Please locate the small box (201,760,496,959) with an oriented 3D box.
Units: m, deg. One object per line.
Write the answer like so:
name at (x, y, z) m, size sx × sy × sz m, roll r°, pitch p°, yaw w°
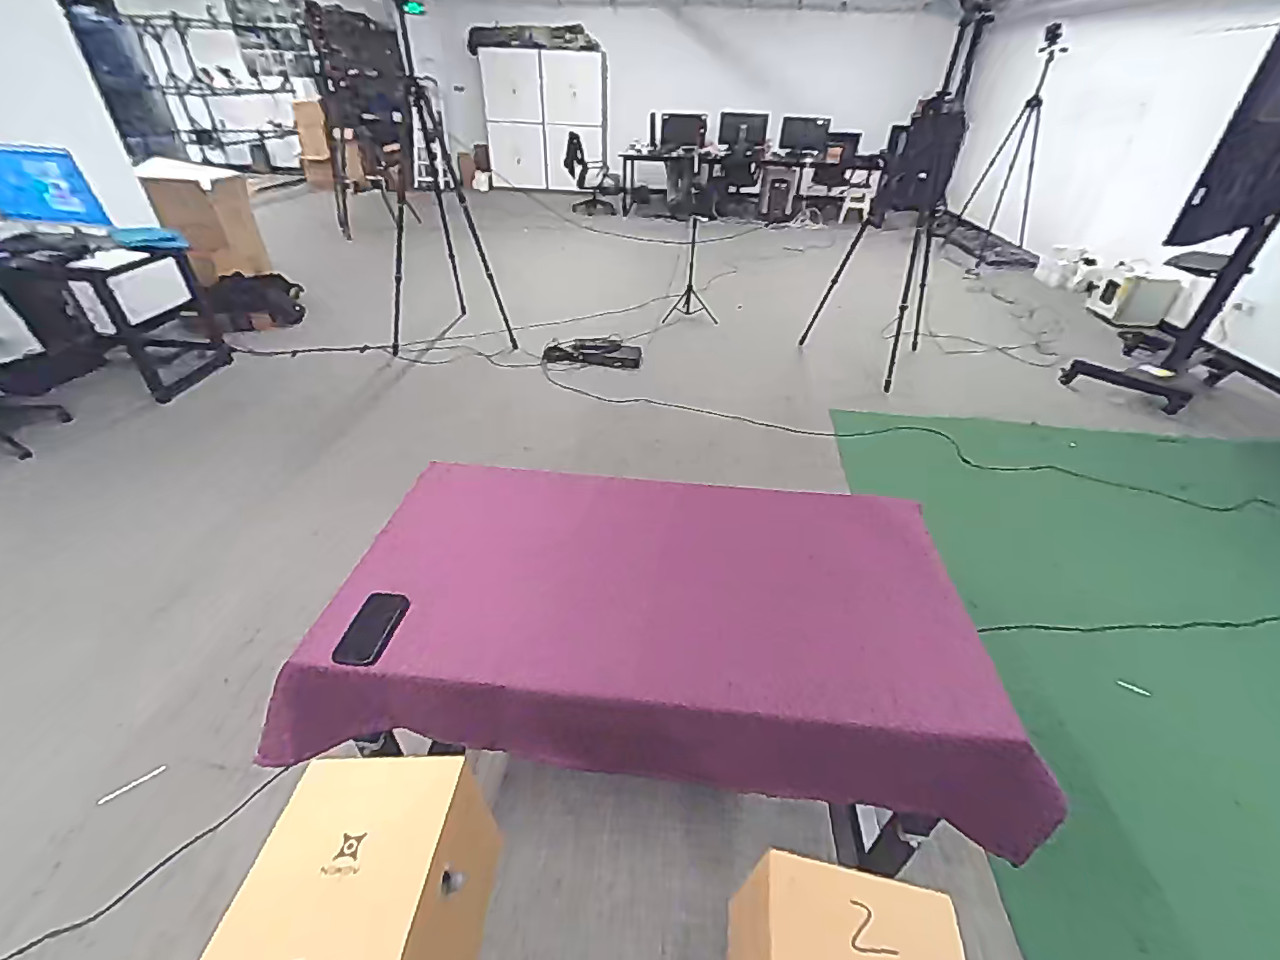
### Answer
small box at (-0.249, 0.399, 0.518) m, size 0.168 × 0.176 × 0.179 m, roll -2°, pitch 33°, yaw 5°
